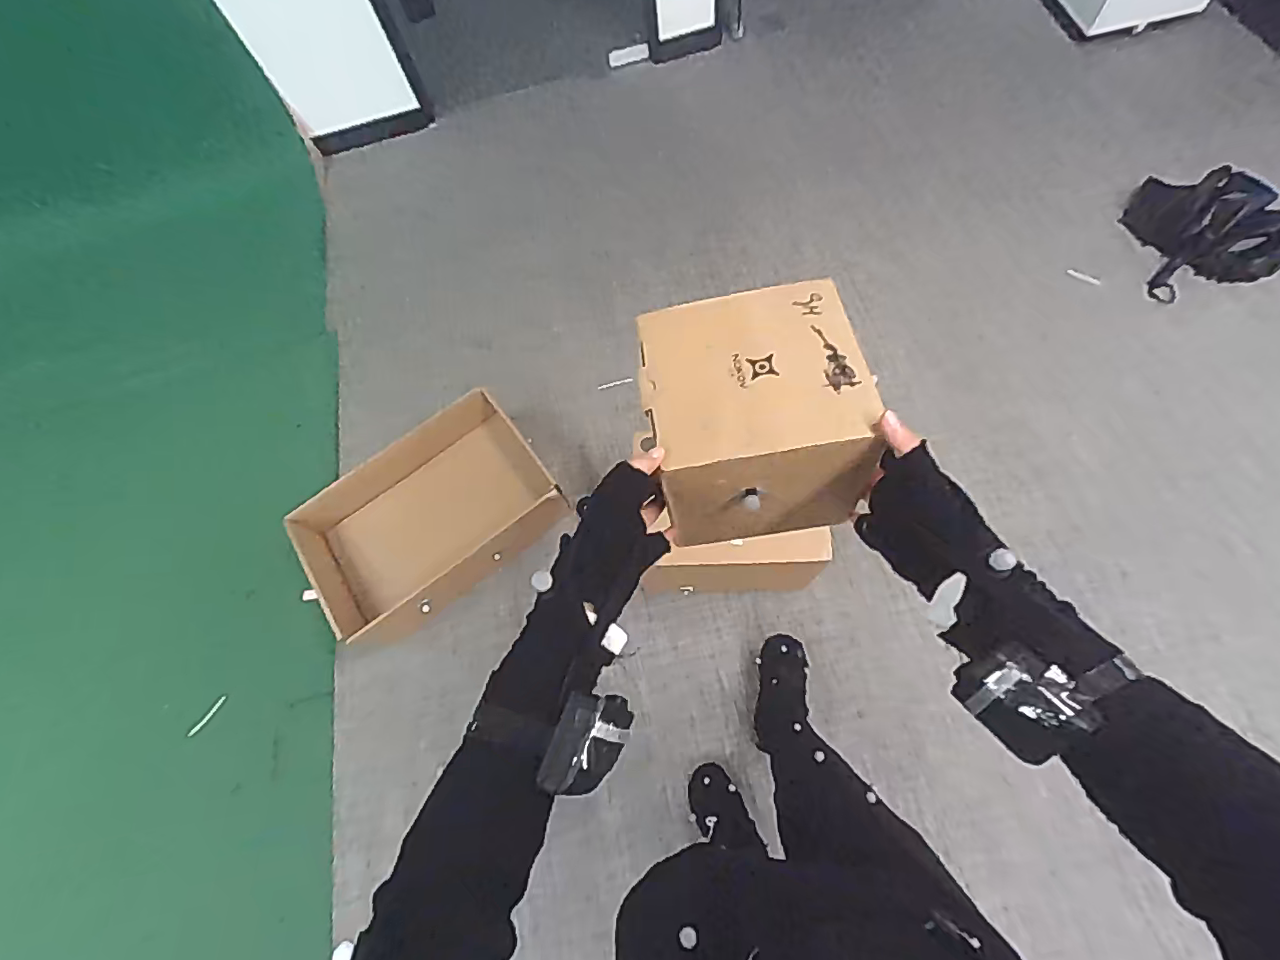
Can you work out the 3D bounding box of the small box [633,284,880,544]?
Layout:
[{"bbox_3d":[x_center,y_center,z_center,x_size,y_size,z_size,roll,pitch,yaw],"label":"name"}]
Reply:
[{"bbox_3d":[0.099,-0.051,0.515,0.179,0.176,0.168,-10,61,5],"label":"small box"}]
